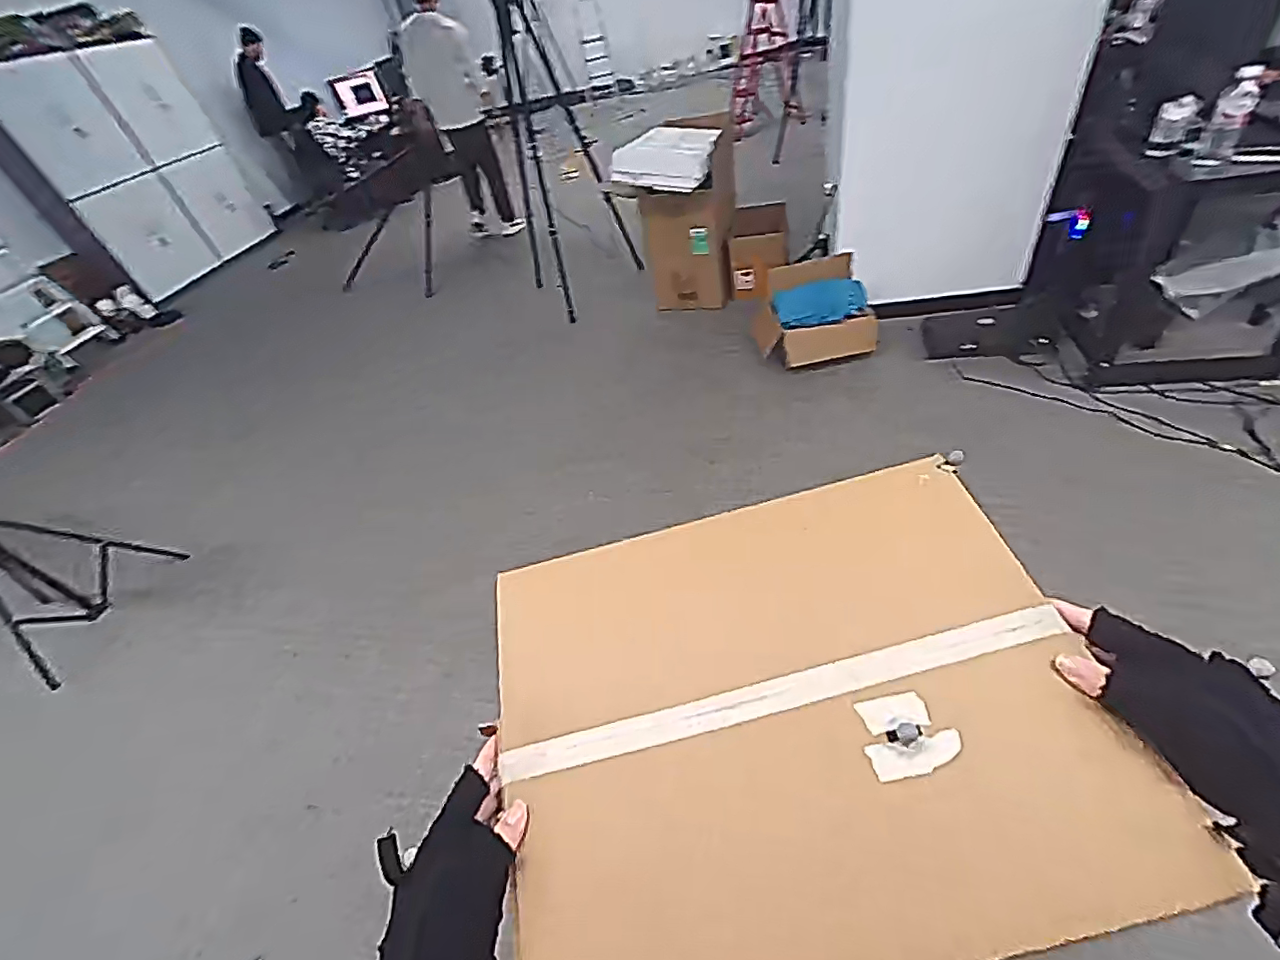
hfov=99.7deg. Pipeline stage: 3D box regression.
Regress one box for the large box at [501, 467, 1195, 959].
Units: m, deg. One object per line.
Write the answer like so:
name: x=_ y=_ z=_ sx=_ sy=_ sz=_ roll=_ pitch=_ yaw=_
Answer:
large box: x=0.120 y=0.246 z=0.514 sx=0.408 sy=0.320 sz=0.320 roll=-16 pitch=53 yaw=0
